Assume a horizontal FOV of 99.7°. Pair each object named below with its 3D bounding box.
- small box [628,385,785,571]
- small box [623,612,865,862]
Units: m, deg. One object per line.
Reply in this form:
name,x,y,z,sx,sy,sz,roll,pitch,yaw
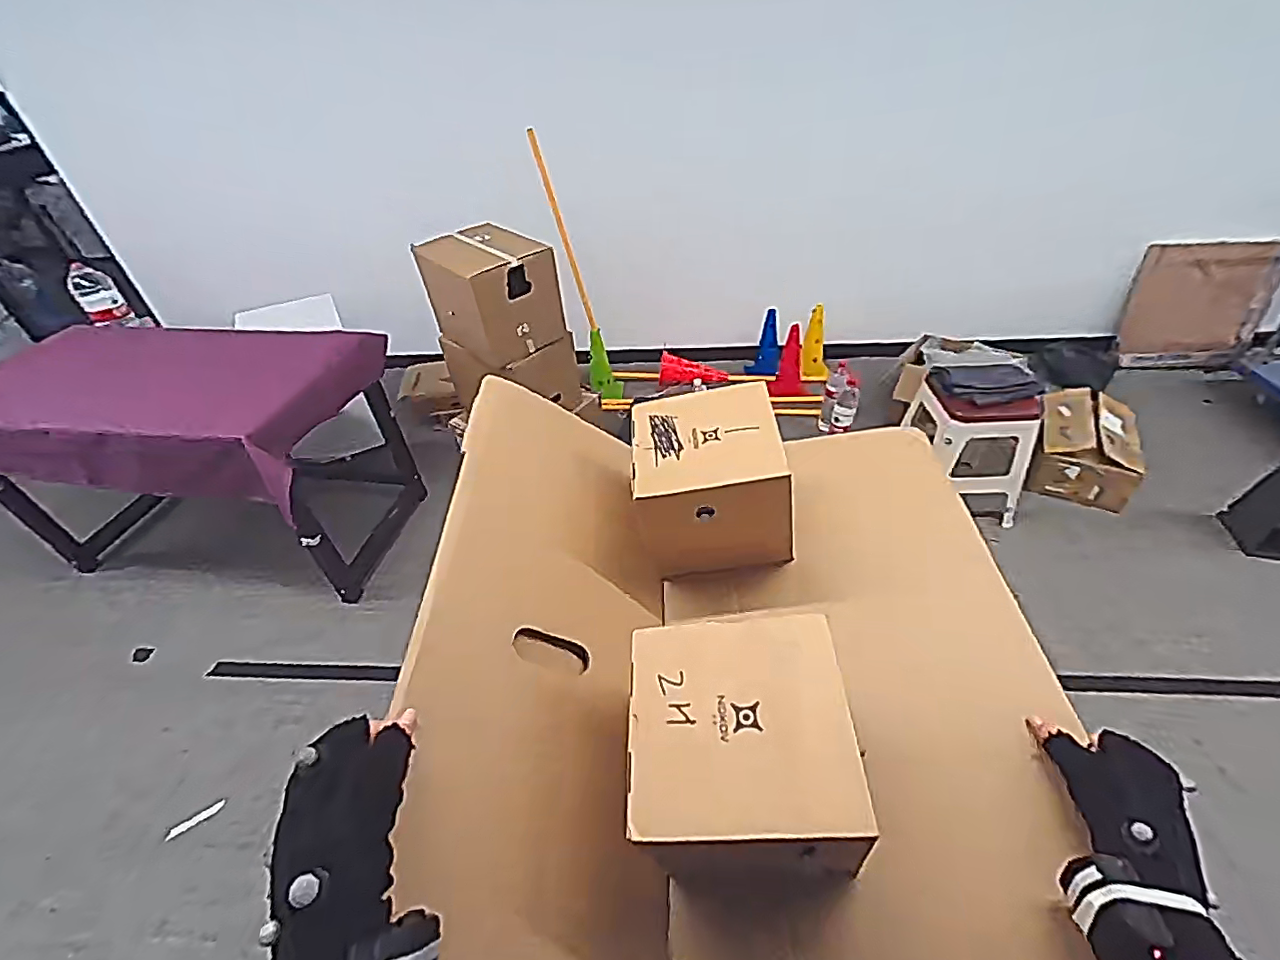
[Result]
small box,0.088,0.004,0.714,0.179,0.176,0.168,-10,47,8
small box,0.092,0.240,0.499,0.179,0.176,0.168,-8,47,11
